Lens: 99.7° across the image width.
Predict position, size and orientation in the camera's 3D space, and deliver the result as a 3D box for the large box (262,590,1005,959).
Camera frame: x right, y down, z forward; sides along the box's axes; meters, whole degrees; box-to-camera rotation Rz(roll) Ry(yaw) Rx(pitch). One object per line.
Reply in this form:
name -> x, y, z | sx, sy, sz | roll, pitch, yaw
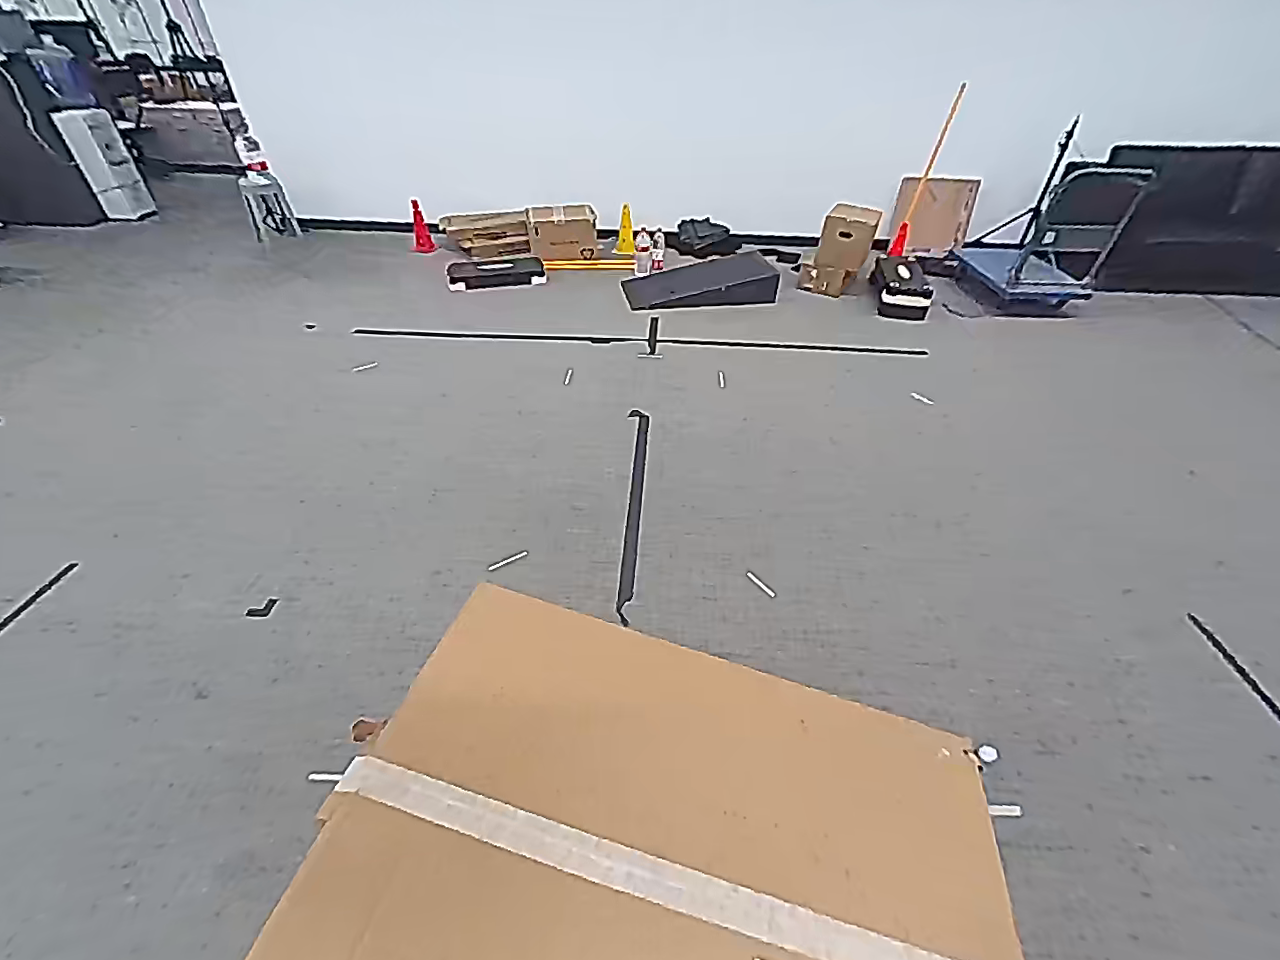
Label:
large box -> -0.007, 0.347, 0.417 | 0.408, 0.320, 0.320 | 18, 41, 3
